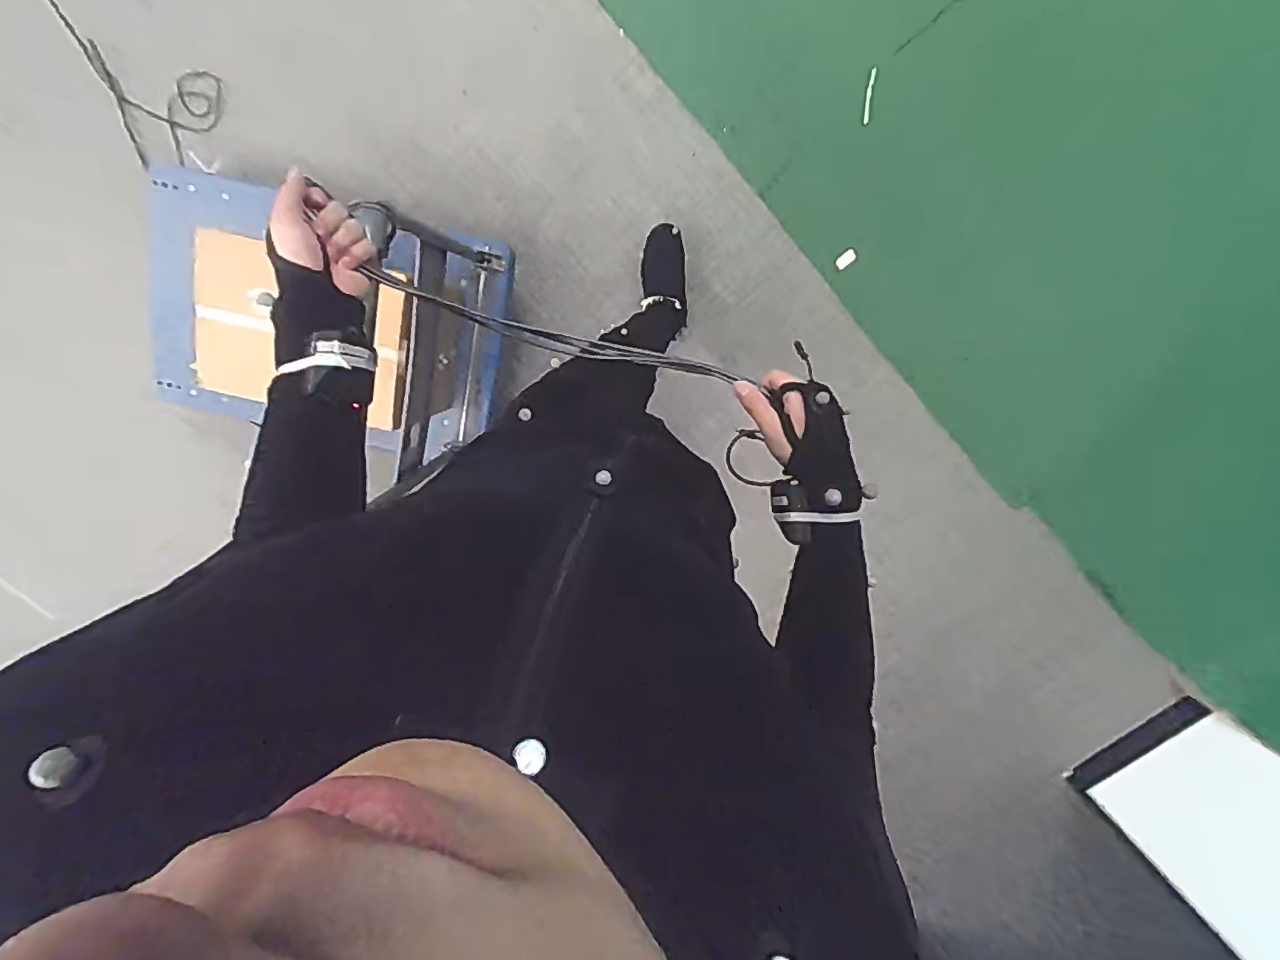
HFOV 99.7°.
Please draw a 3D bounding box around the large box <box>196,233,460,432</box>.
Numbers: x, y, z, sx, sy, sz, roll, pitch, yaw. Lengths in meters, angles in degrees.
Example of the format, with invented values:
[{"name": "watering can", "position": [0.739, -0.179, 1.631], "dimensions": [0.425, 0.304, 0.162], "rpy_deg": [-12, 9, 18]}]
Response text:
[{"name": "large box", "position": [-0.658, -0.321, 1.197], "dimensions": [0.408, 0.320, 0.320], "rpy_deg": [13, 105, -1]}]
